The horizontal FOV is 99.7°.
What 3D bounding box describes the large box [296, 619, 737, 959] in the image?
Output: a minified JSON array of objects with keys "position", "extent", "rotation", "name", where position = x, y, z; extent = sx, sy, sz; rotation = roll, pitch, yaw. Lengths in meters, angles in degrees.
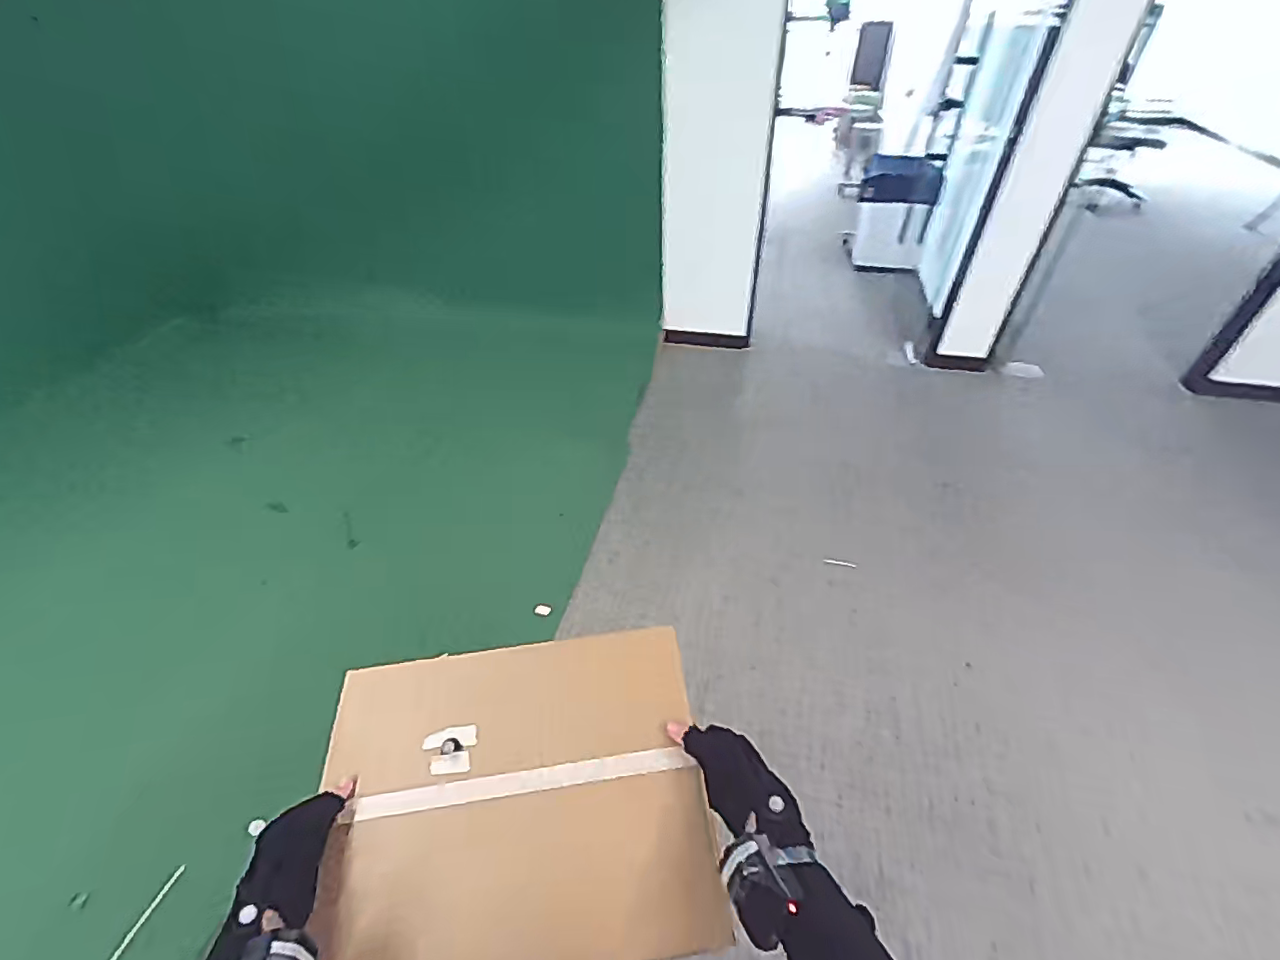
[{"position":[-0.120,0.407,0.683],"extent":[0.408,0.320,0.320],"rotation":[-7,50,-3],"name":"large box"}]
